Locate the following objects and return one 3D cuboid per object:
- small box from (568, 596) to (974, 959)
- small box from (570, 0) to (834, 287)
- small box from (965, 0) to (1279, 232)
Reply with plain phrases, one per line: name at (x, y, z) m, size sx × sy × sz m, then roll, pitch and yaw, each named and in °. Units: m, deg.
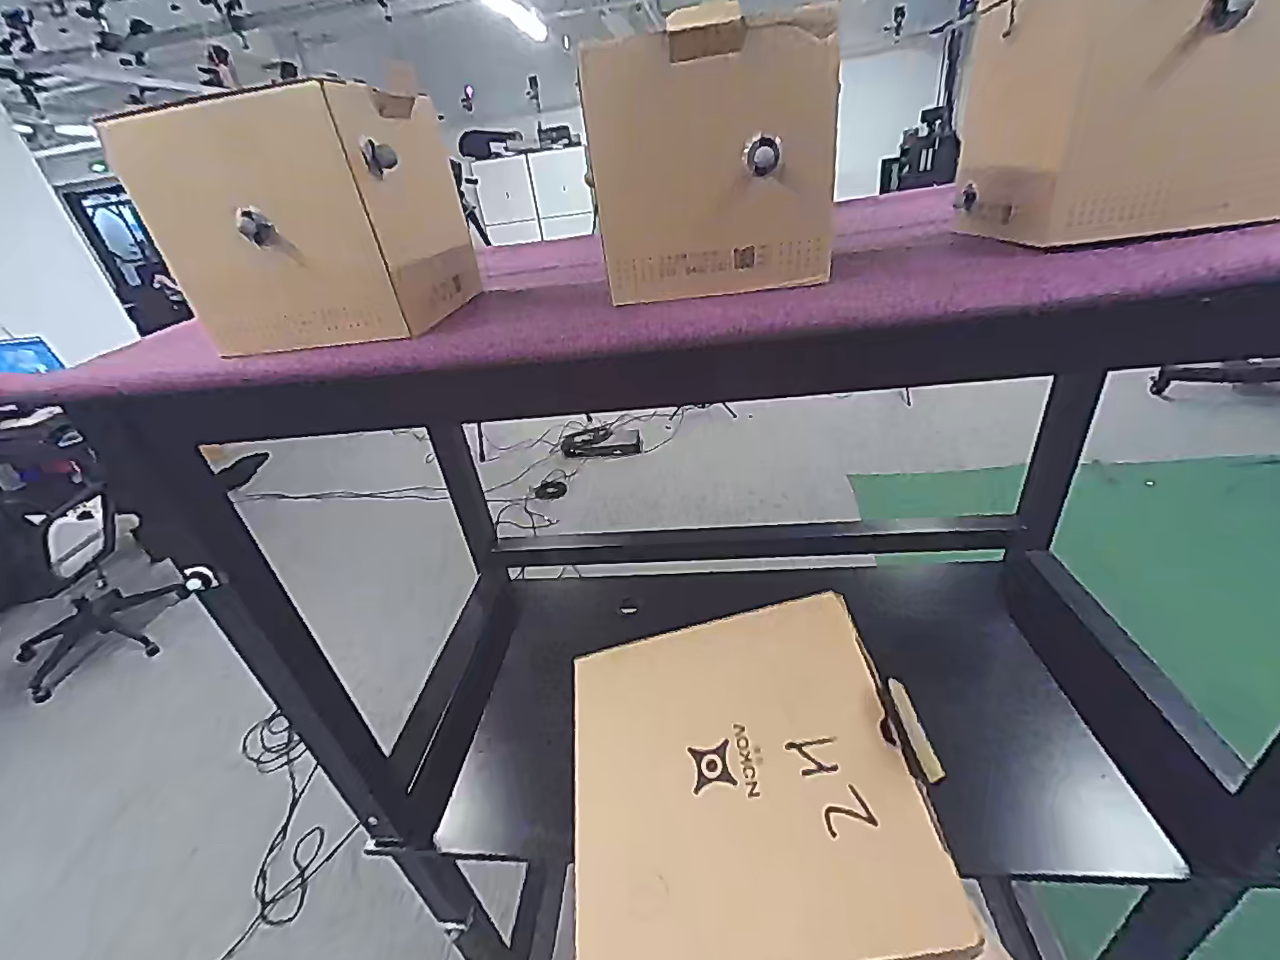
small box at (0.070, 0.202, 0.332) m, size 0.179 × 0.176 × 0.168 m, roll -17°, pitch 43°, yaw 9°
small box at (0.055, -0.258, 0.435) m, size 0.168 × 0.176 × 0.179 m, roll -2°, pitch 30°, yaw 9°
small box at (0.365, -0.286, 0.397) m, size 0.179 × 0.176 × 0.168 m, roll -4°, pitch 28°, yaw 8°
